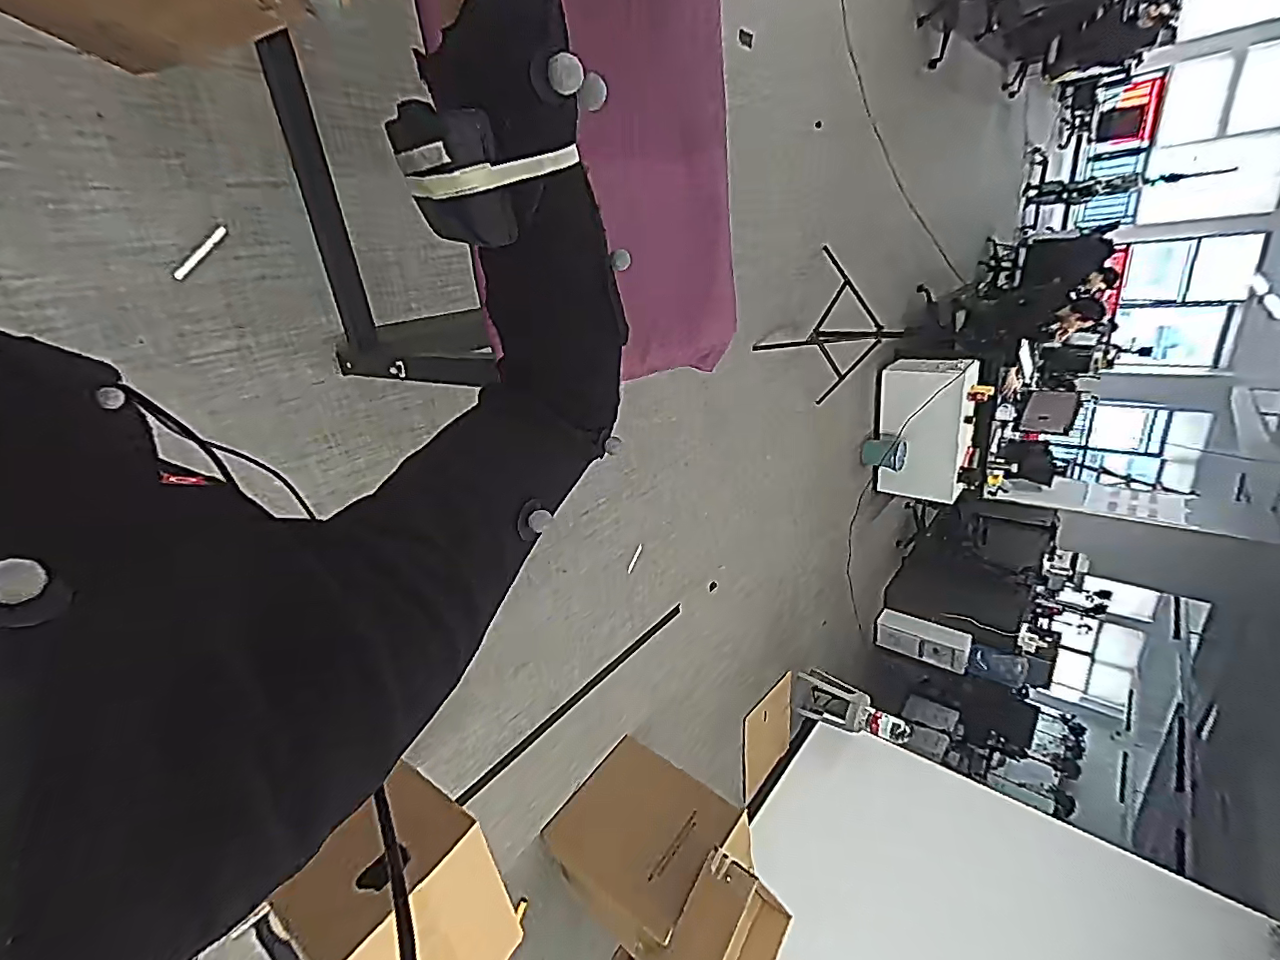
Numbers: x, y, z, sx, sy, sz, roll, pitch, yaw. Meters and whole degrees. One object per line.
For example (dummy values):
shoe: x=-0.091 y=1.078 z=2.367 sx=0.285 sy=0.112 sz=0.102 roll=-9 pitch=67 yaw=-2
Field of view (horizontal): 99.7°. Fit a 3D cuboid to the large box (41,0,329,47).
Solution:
large box: x=-0.261 y=-0.433 z=0.137 sx=0.320 sy=0.320 sz=0.408 roll=0 pitch=110 yaw=-53
